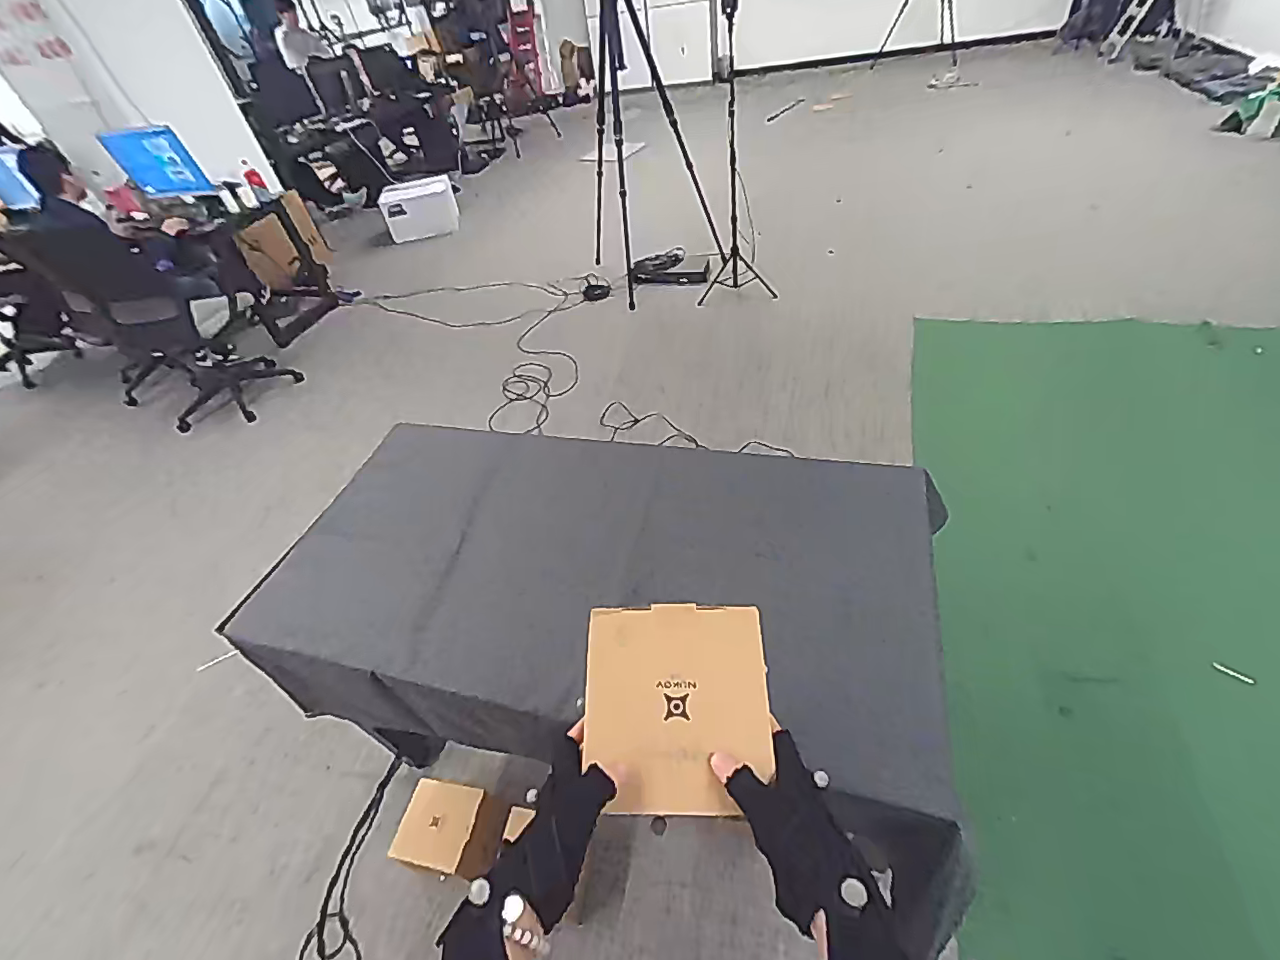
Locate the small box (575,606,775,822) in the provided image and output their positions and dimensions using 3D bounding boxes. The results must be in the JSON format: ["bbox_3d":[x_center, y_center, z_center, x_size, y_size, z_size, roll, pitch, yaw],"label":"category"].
[{"bbox_3d":[0.033,0.239,0.547,0.168,0.176,0.179,0,59,3],"label":"small box"}]
